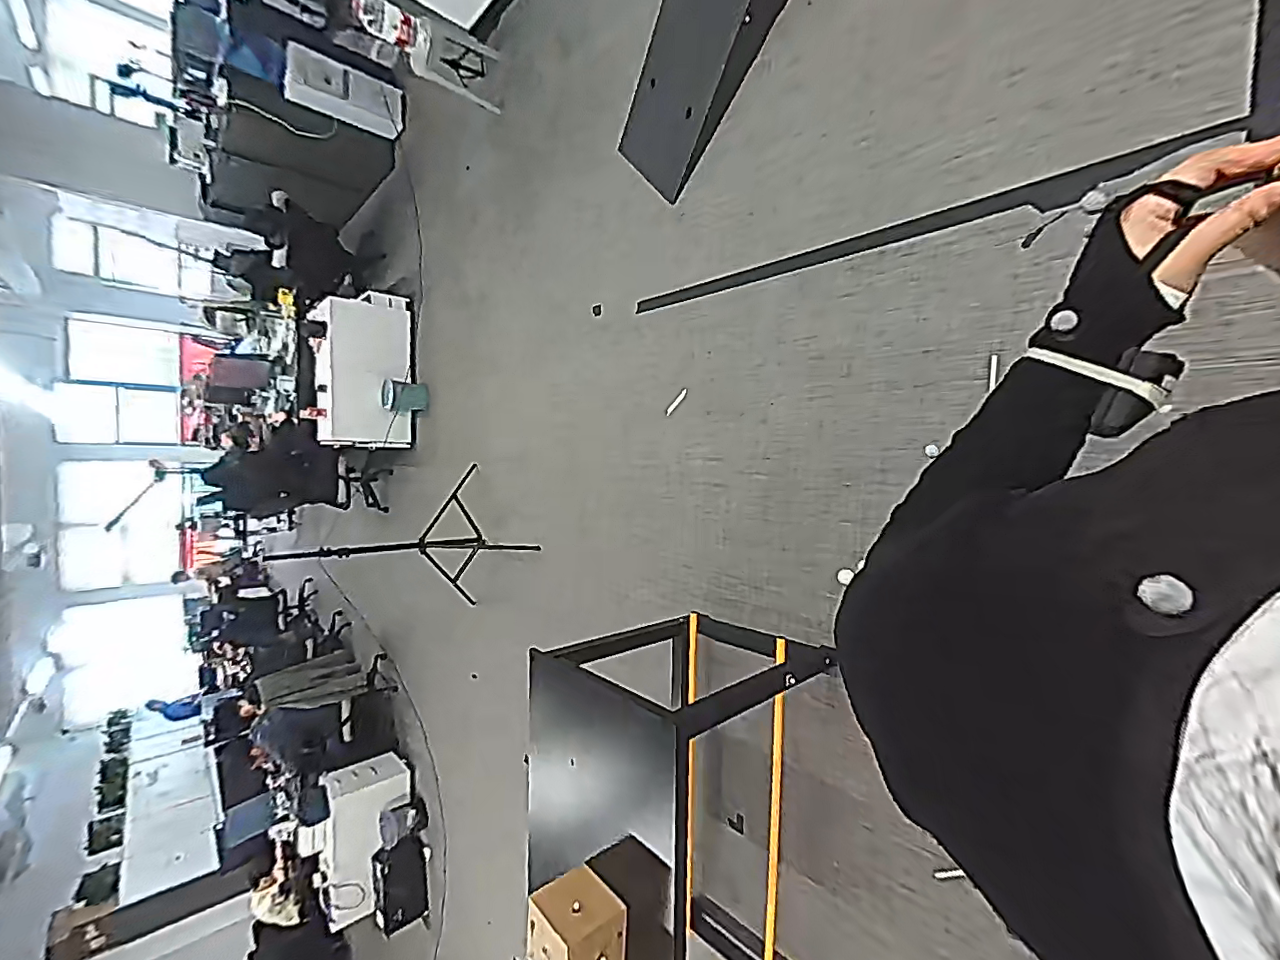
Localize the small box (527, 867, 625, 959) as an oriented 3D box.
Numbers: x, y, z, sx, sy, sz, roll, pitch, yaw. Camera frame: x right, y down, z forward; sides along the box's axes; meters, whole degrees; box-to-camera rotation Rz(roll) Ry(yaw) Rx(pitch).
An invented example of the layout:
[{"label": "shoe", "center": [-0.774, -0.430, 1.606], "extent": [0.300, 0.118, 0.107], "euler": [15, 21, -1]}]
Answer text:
[{"label": "small box", "center": [-0.150, 1.078, 1.288], "extent": [0.179, 0.176, 0.168], "euler": [7, 95, 48]}]
